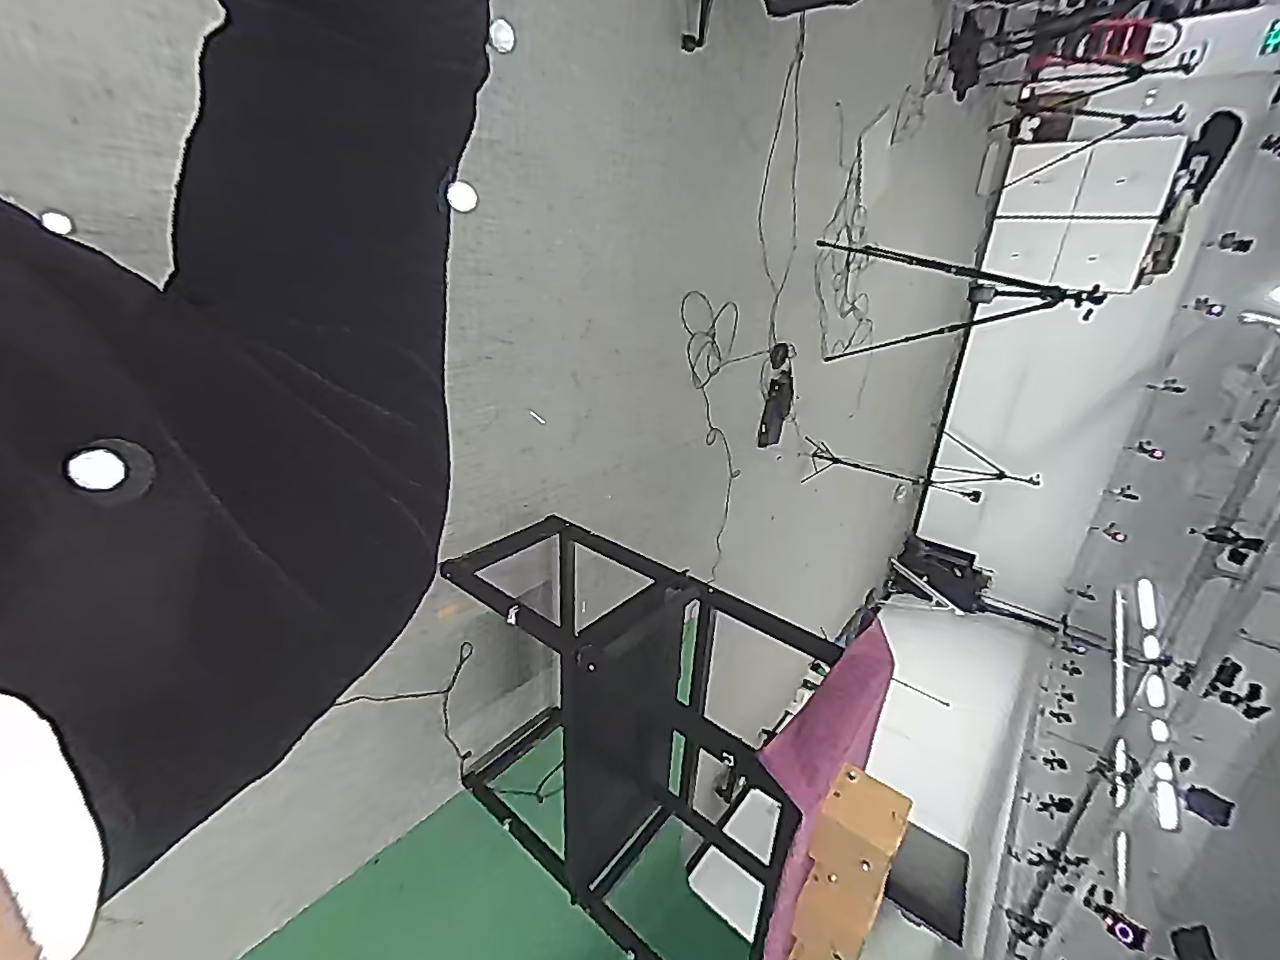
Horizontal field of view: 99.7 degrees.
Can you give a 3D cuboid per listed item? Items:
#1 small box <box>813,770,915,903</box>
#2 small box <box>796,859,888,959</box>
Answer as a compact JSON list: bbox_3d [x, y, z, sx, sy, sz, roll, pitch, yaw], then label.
[{"bbox_3d":[0.527,0.828,1.282,0.168,0.176,0.179,-27,127,-45],"label":"small box"},{"bbox_3d":[0.524,1.131,1.416,0.168,0.176,0.179,-24,123,-47],"label":"small box"}]
